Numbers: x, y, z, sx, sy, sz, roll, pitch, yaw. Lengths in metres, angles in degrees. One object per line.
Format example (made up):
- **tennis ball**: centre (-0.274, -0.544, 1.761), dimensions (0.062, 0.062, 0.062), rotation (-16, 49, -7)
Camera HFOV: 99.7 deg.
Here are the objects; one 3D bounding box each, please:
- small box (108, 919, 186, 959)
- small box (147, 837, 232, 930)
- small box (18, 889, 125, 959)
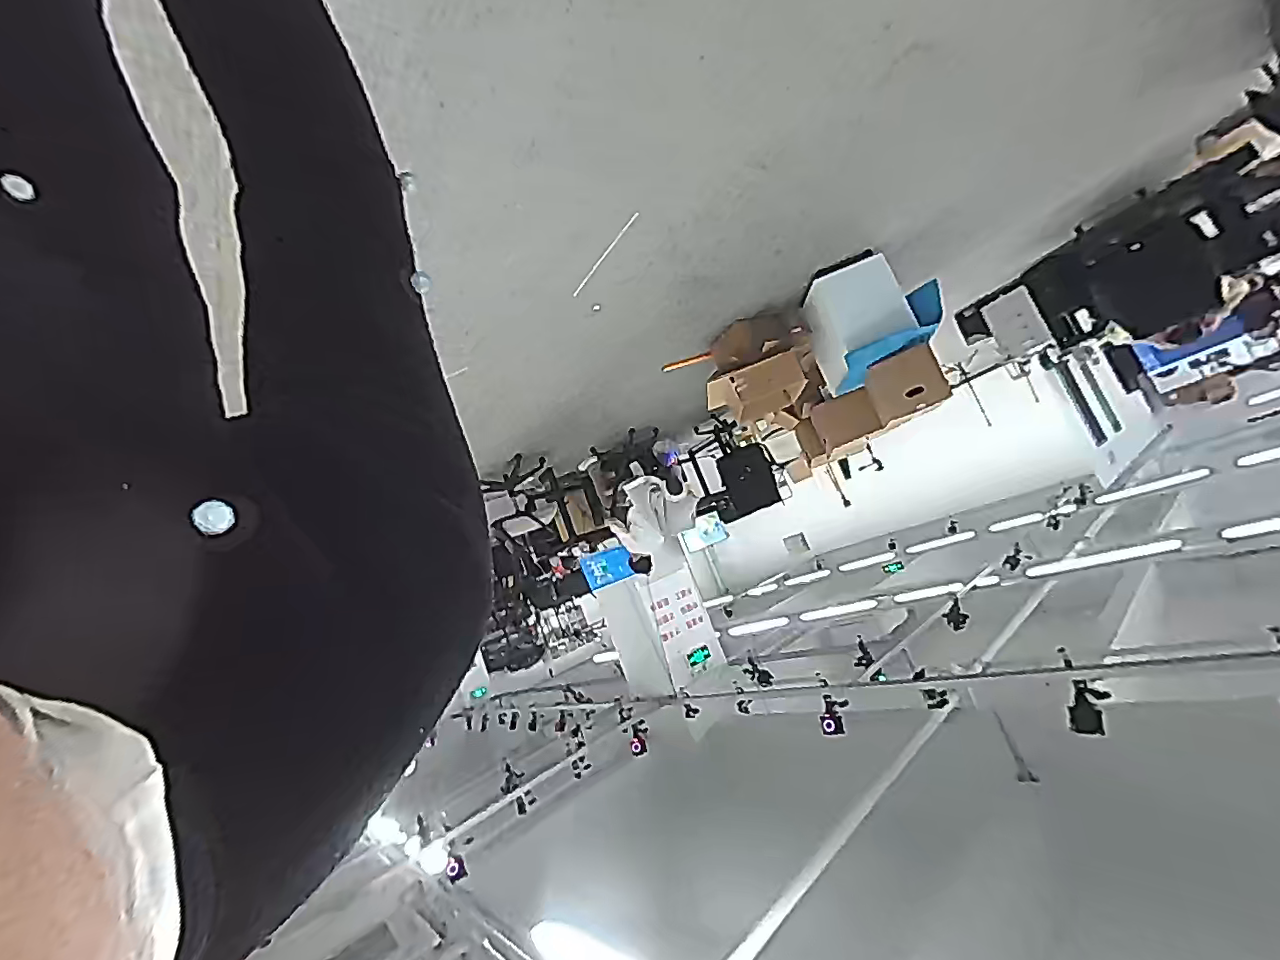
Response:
- **small box**: centre (-1.503, 1.467, 1.638), dimensions (0.168, 0.176, 0.179), rotation (-13, 169, -41)
- **small box**: centre (-1.450, 1.287, 1.748), dimensions (0.179, 0.176, 0.168), rotation (-14, 168, -37)
- **small box**: centre (-1.648, 1.334, 1.573), dimensions (0.179, 0.176, 0.168), rotation (-14, 169, -39)
